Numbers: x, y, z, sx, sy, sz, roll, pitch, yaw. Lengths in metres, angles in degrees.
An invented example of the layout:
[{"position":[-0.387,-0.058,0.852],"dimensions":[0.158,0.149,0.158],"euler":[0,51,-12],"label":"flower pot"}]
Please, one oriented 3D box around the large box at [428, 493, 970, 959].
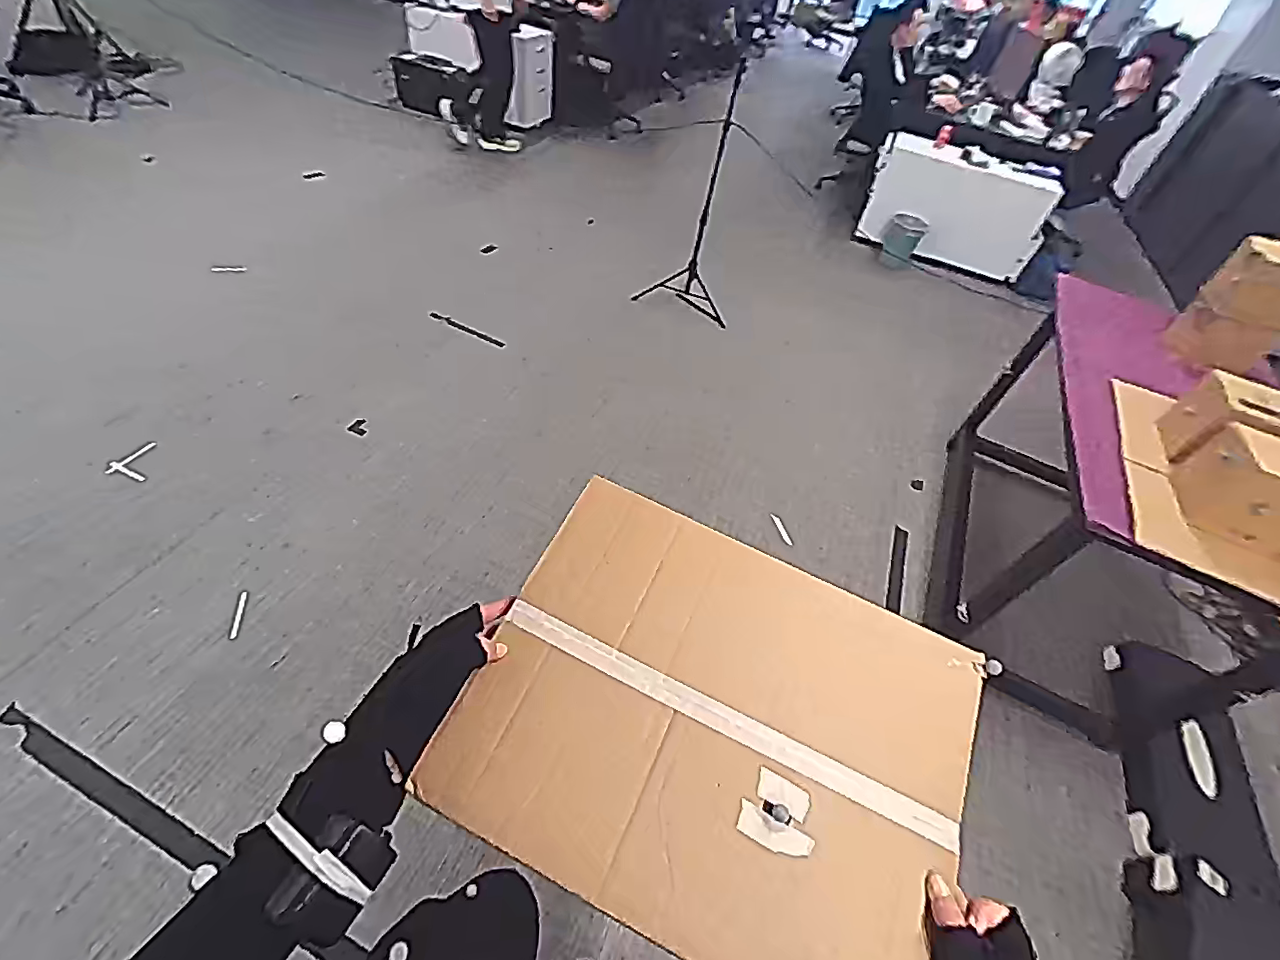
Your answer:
[{"position":[0.058,0.279,0.597],"dimensions":[0.408,0.320,0.320],"euler":[25,63,8],"label":"large box"}]
